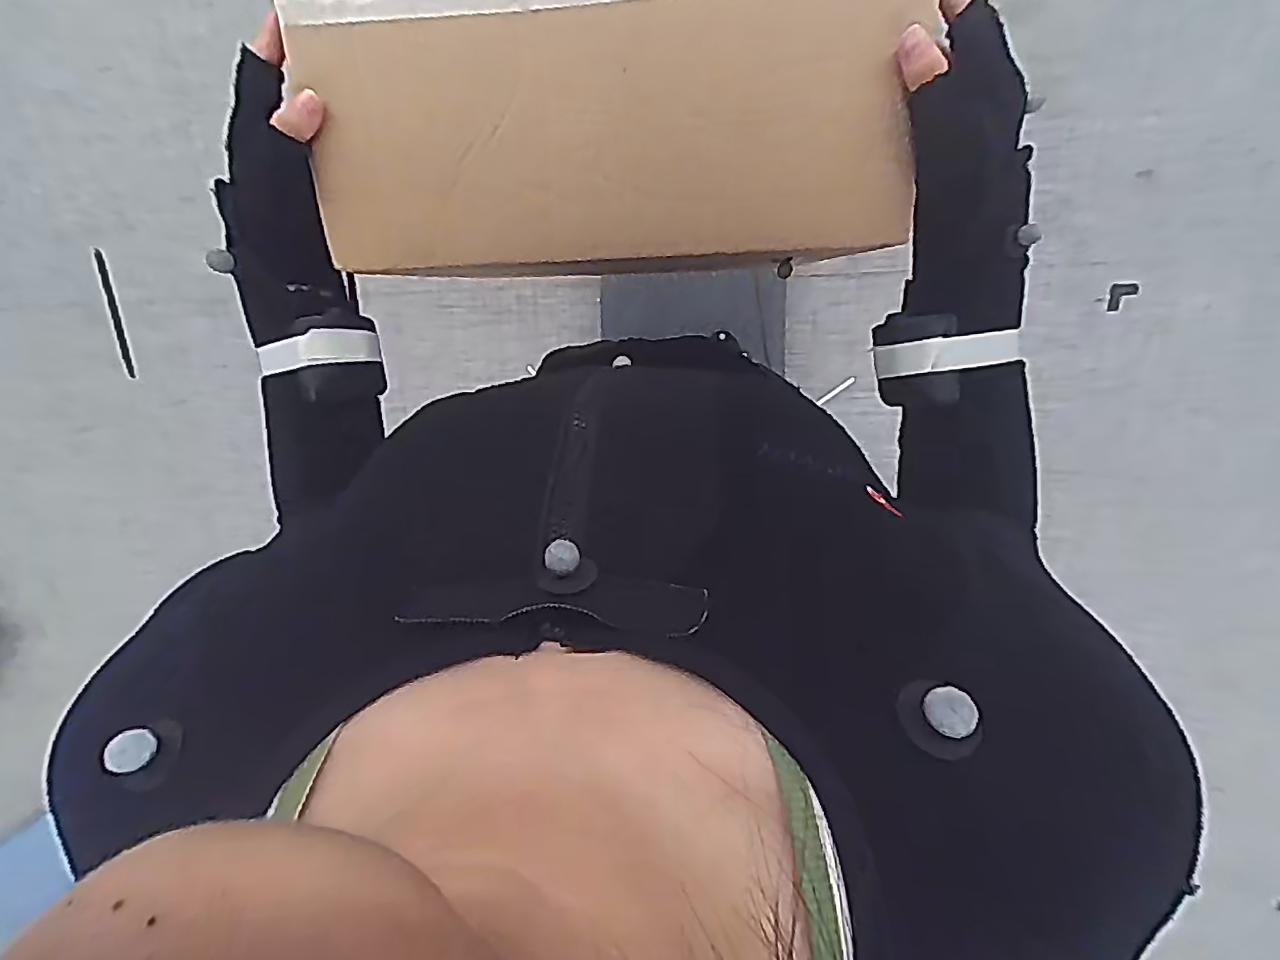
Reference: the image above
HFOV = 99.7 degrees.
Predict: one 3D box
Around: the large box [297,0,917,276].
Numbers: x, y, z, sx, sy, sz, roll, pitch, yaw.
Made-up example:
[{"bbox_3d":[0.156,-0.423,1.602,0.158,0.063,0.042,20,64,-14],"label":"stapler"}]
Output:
[{"bbox_3d":[-0.015,-0.357,0.481,0.408,0.320,0.320,-1,109,4],"label":"large box"}]
